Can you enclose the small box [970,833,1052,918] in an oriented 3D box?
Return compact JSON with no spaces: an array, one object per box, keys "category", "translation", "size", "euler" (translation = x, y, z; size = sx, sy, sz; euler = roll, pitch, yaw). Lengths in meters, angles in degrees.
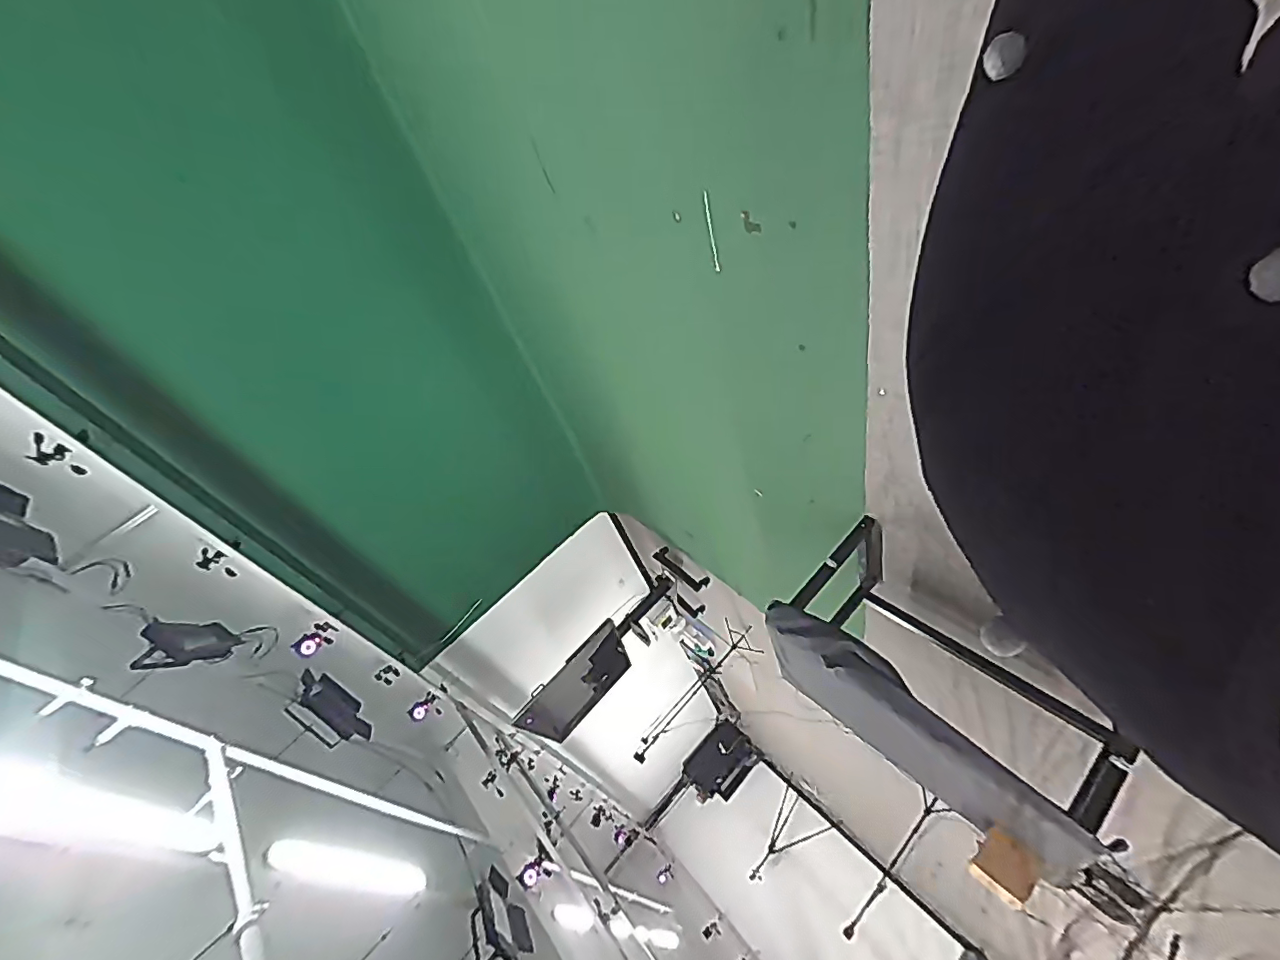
[{"category":"small box","translation":[1.318,1.400,1.926],"size":[0.179,0.176,0.168],"euler":[32,156,42]}]
